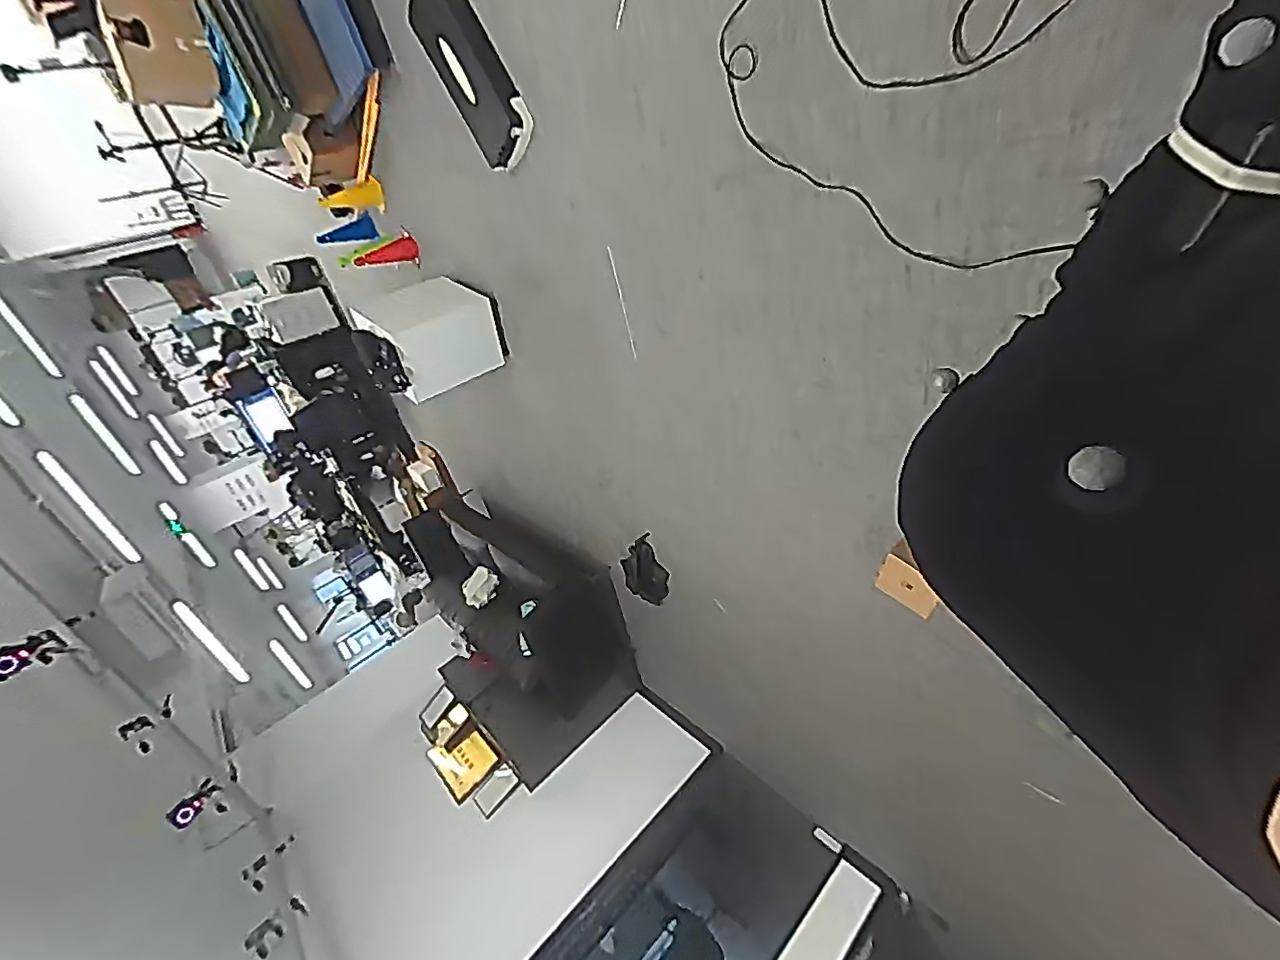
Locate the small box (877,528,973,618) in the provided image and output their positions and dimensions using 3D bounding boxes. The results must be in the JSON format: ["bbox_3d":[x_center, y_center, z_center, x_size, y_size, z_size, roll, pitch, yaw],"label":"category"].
[{"bbox_3d":[0.856,0.270,1.627,0.179,0.176,0.168,35,145,31],"label":"small box"}]
